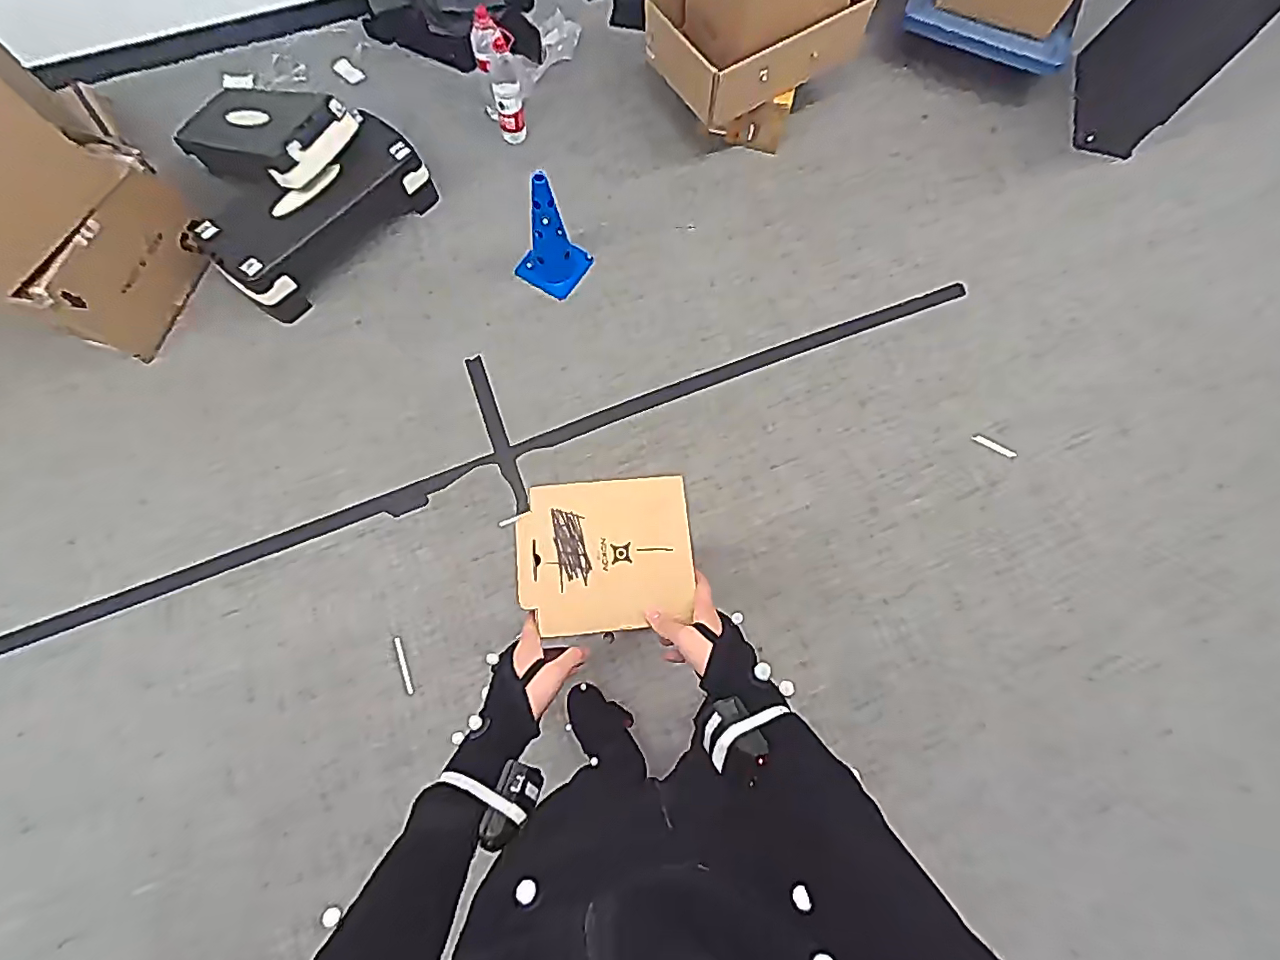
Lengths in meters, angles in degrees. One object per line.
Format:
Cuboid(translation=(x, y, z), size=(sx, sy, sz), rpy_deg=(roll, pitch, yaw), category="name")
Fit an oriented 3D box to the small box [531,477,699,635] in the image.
Cuboid(translation=(-0.035, 0.099, 0.668), size=(0.179, 0.176, 0.168), rpy_deg=(-4, 77, -7), category="small box")
